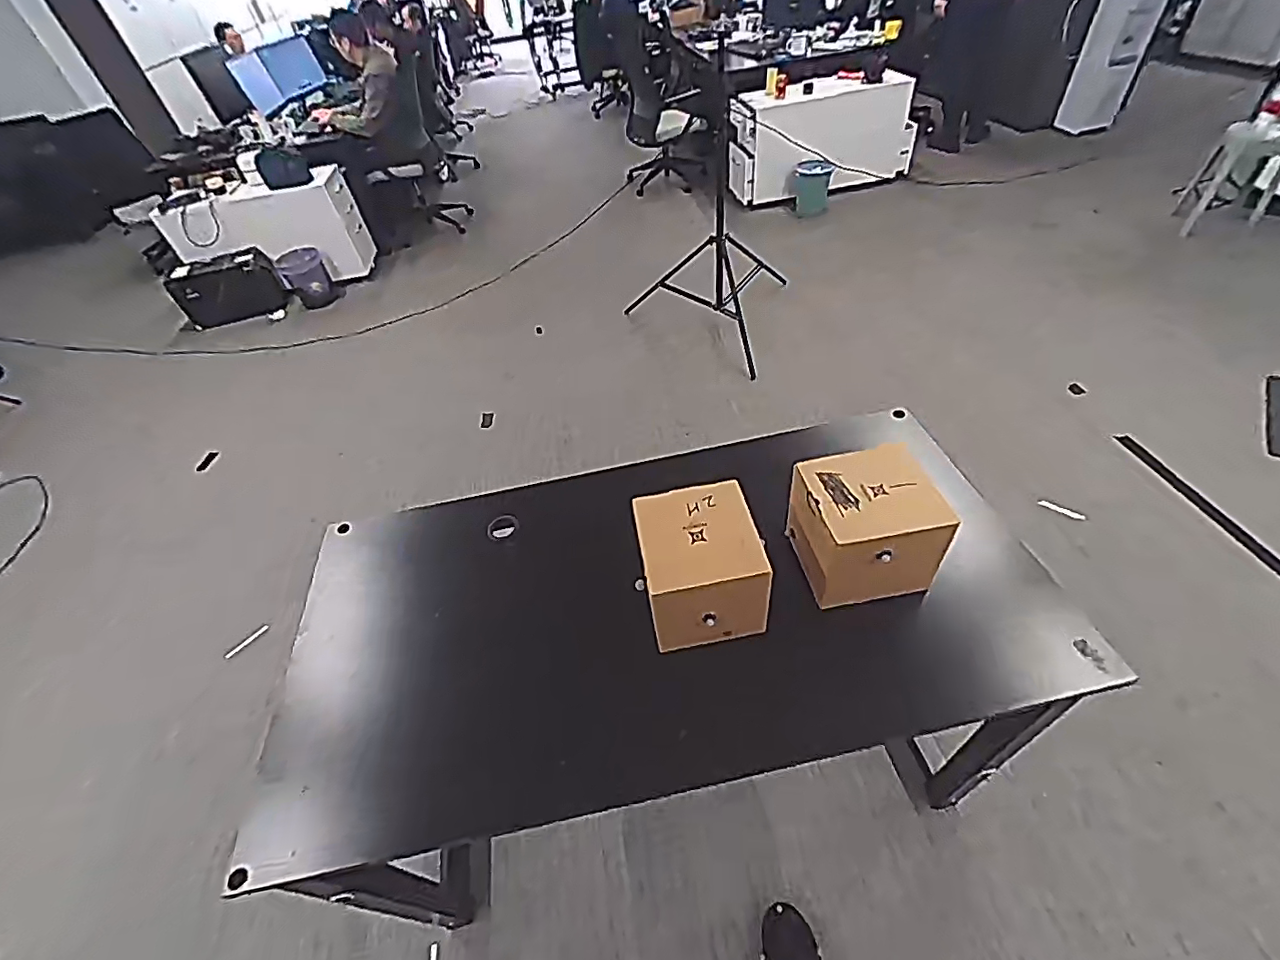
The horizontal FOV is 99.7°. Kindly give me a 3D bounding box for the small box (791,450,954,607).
[{"bbox_3d":[0.346,0.080,0.849,0.179,0.176,0.168,-10,46,-1],"label":"small box"}]

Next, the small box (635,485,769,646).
[{"bbox_3d":[0.092,0.138,0.833,0.168,0.176,0.179,-10,46,-1],"label":"small box"}]
